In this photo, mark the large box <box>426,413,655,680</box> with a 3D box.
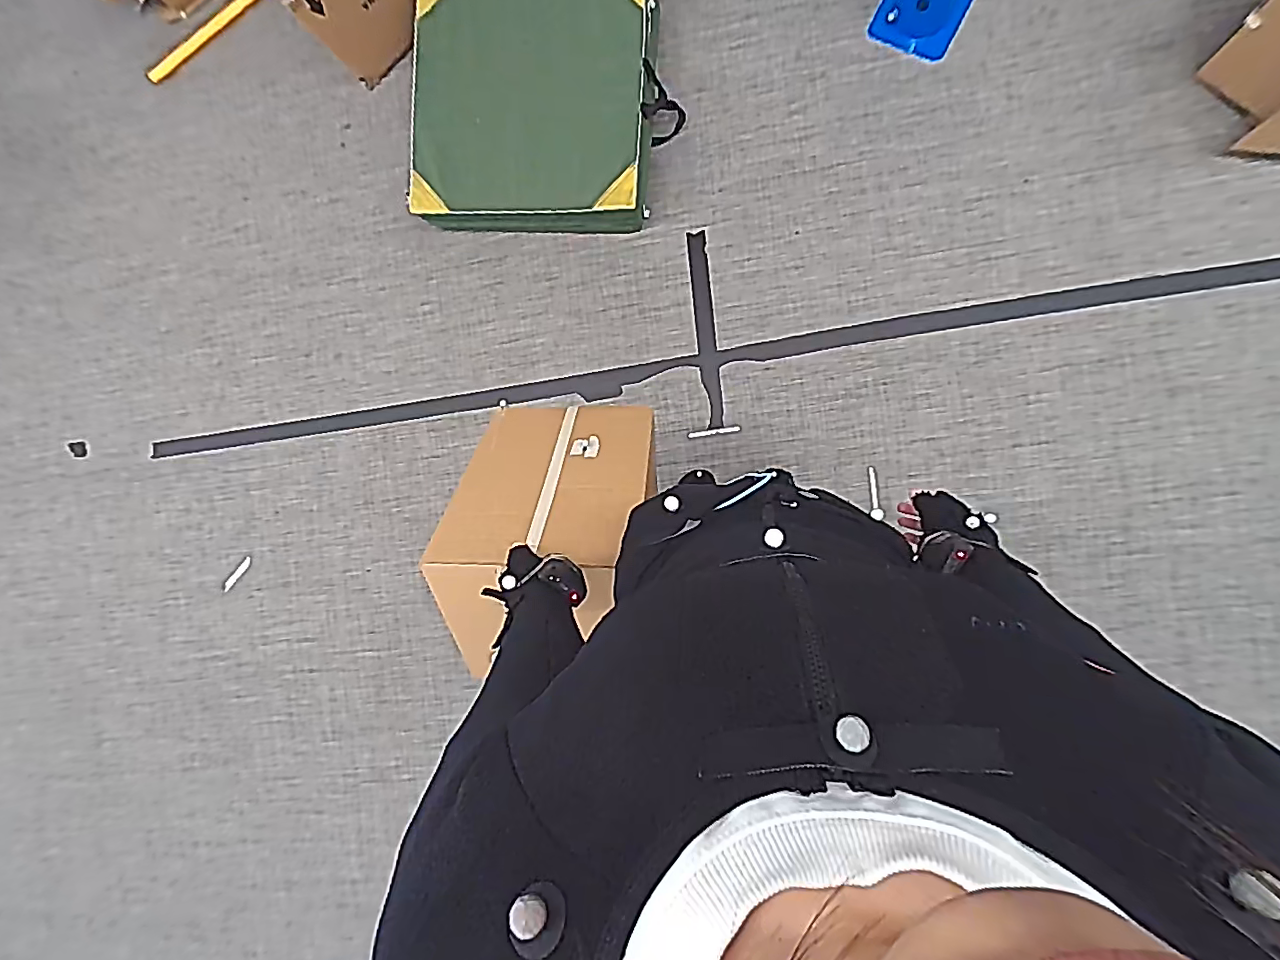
[{"bbox_3d":[-0.140,0.115,1.014,0.320,0.408,0.320,1,130,6],"label":"large box"}]
